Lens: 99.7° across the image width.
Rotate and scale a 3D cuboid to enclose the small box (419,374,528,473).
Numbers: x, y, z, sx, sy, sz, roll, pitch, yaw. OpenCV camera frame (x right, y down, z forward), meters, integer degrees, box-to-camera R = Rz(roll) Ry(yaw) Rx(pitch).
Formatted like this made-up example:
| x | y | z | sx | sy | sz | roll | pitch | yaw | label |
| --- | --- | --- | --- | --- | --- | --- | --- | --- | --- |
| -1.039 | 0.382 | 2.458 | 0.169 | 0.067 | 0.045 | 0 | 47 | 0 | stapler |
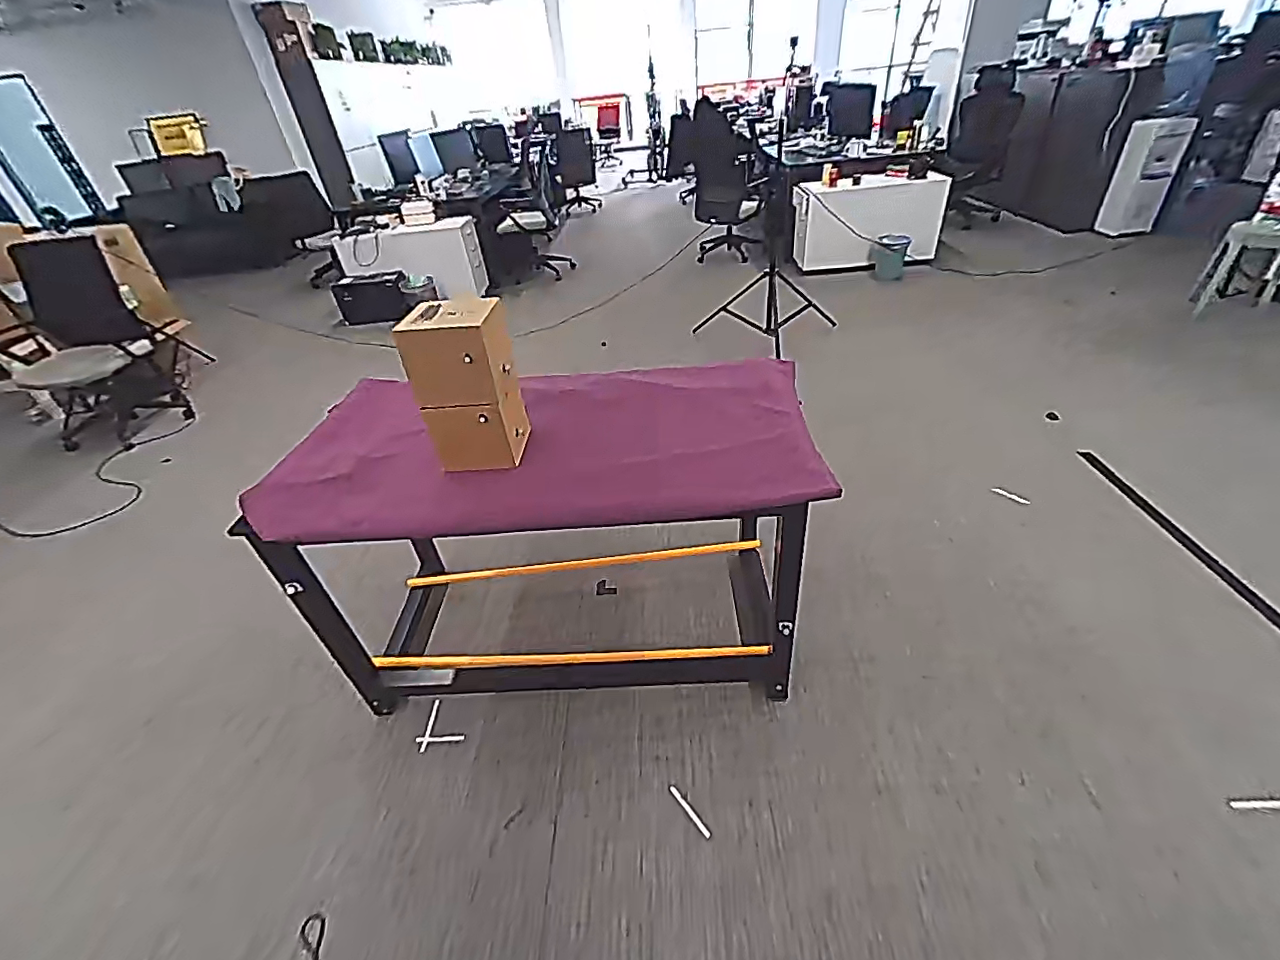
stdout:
| x | y | z | sx | sy | sz | roll | pitch | yaw | label |
| --- | --- | --- | --- | --- | --- | --- | --- | --- | --- |
| -0.369 | -0.127 | 1.234 | 0.179 | 0.176 | 0.168 | -3 | 36 | 3 | small box |
